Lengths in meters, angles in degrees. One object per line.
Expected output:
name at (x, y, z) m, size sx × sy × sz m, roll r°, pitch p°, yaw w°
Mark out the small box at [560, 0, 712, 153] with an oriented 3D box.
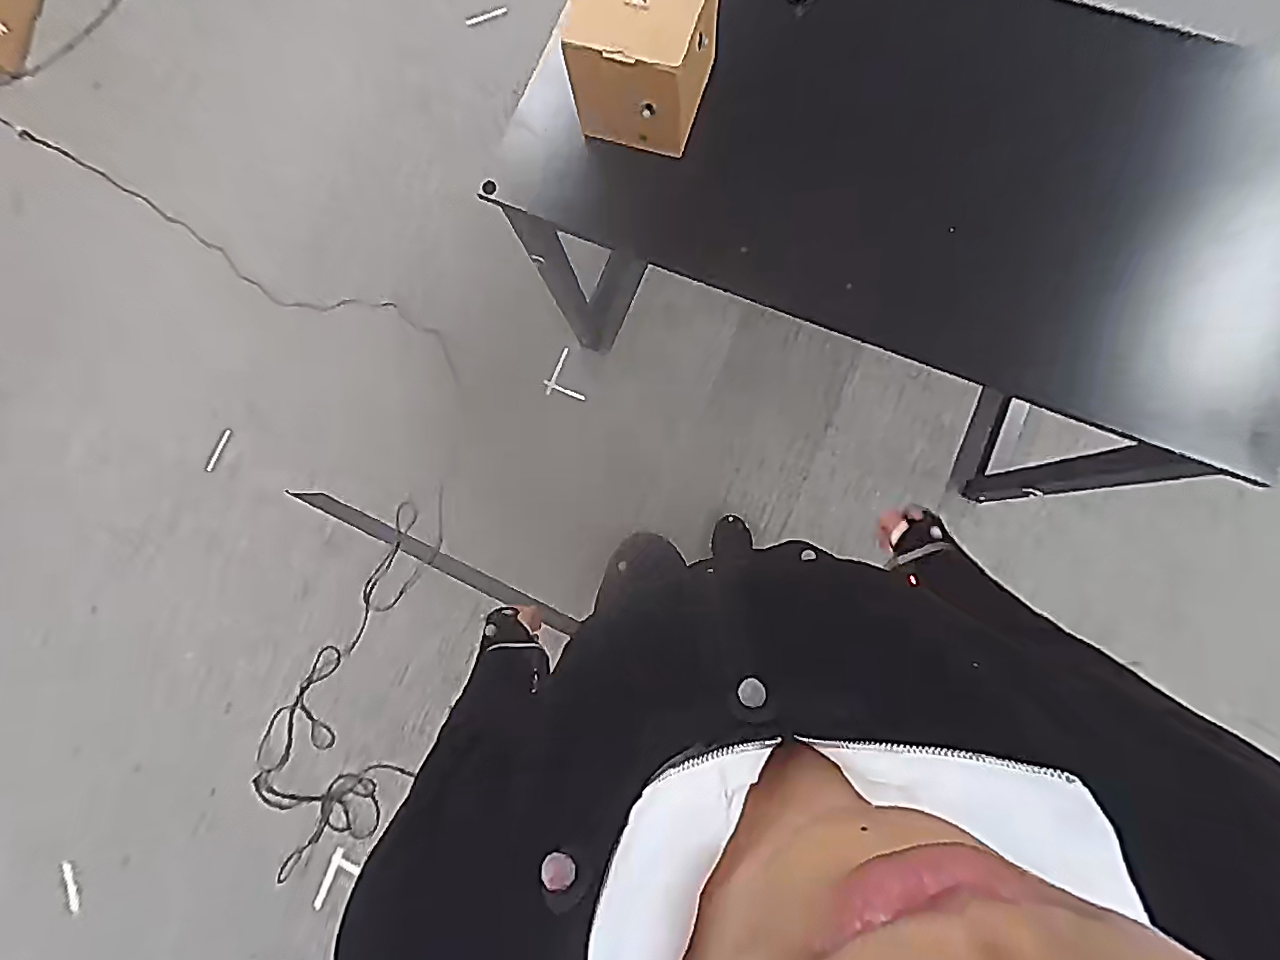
small box at (0.004, -0.616, 0.777) m, size 0.168 × 0.176 × 0.179 m, roll 18°, pitch 85°, yaw 5°
